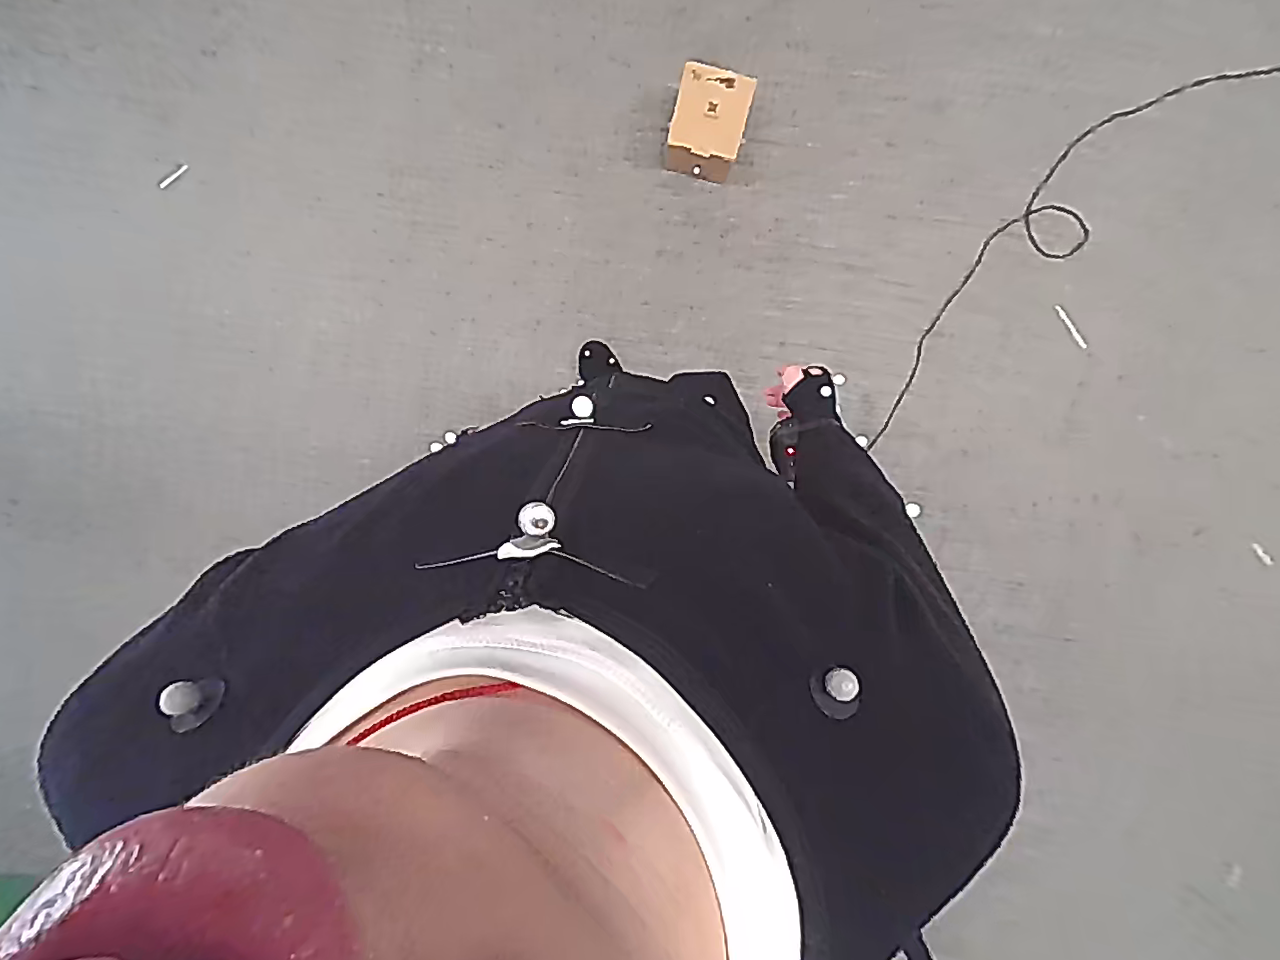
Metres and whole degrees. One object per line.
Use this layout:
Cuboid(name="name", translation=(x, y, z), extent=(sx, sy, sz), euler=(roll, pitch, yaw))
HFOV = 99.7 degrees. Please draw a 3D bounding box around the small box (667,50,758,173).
Cuboid(name="small box", translation=(0.171, -0.866, 1.291), extent=(0.179, 0.176, 0.168), euler=(-14, 99, 7))
